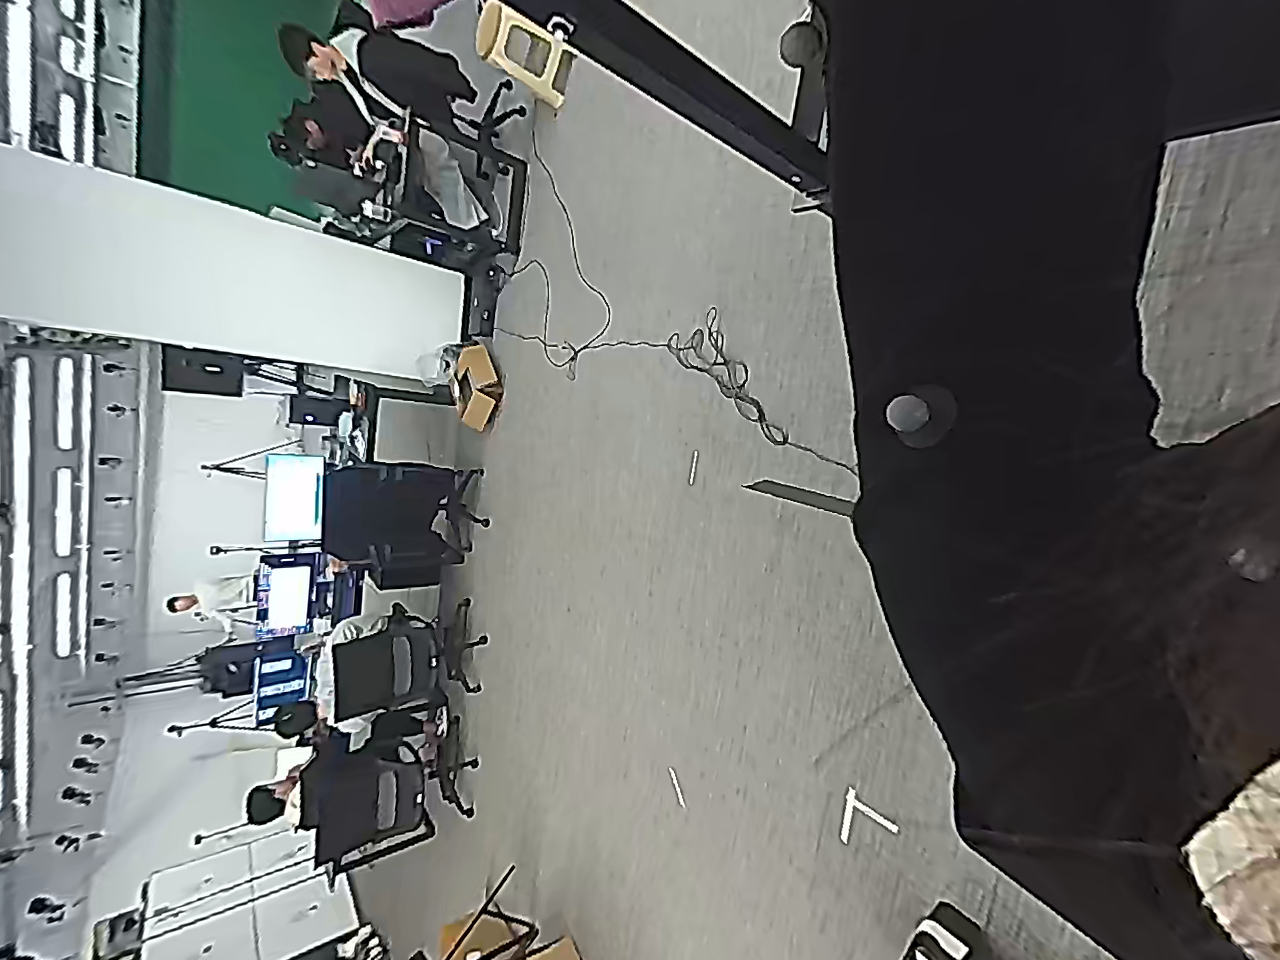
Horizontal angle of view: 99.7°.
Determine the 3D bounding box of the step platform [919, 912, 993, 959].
[{"bbox_3d":[0.909,1.323,1.116,0.684,0.204,0.286,27,108,48],"label":"step platform"}]
